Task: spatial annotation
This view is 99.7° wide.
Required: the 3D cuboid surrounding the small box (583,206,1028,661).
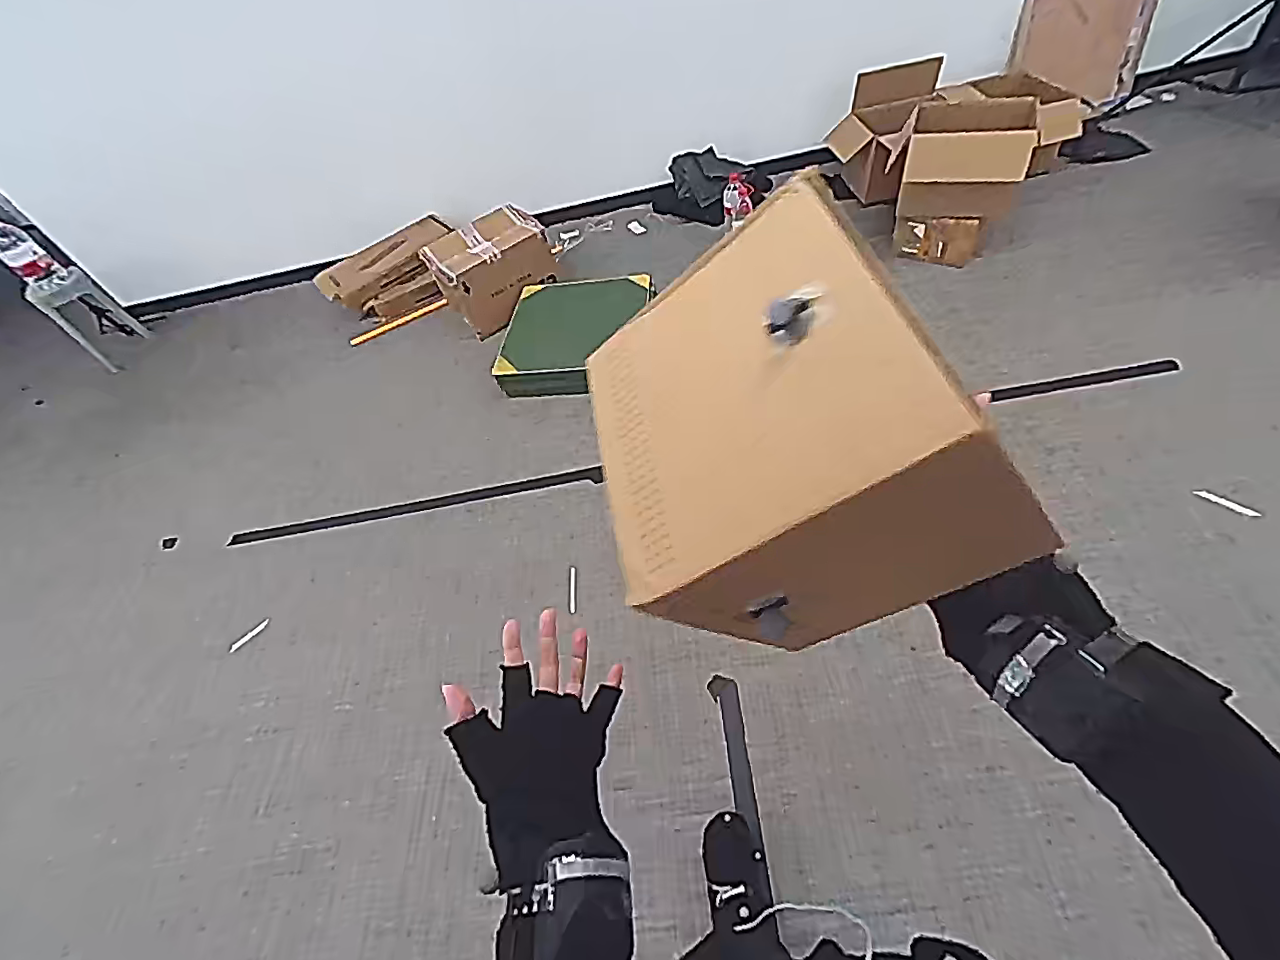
[{"bbox_3d":[0.081,-0.011,0.327,0.176,0.168,0.179,-36,49,30],"label":"small box"}]
